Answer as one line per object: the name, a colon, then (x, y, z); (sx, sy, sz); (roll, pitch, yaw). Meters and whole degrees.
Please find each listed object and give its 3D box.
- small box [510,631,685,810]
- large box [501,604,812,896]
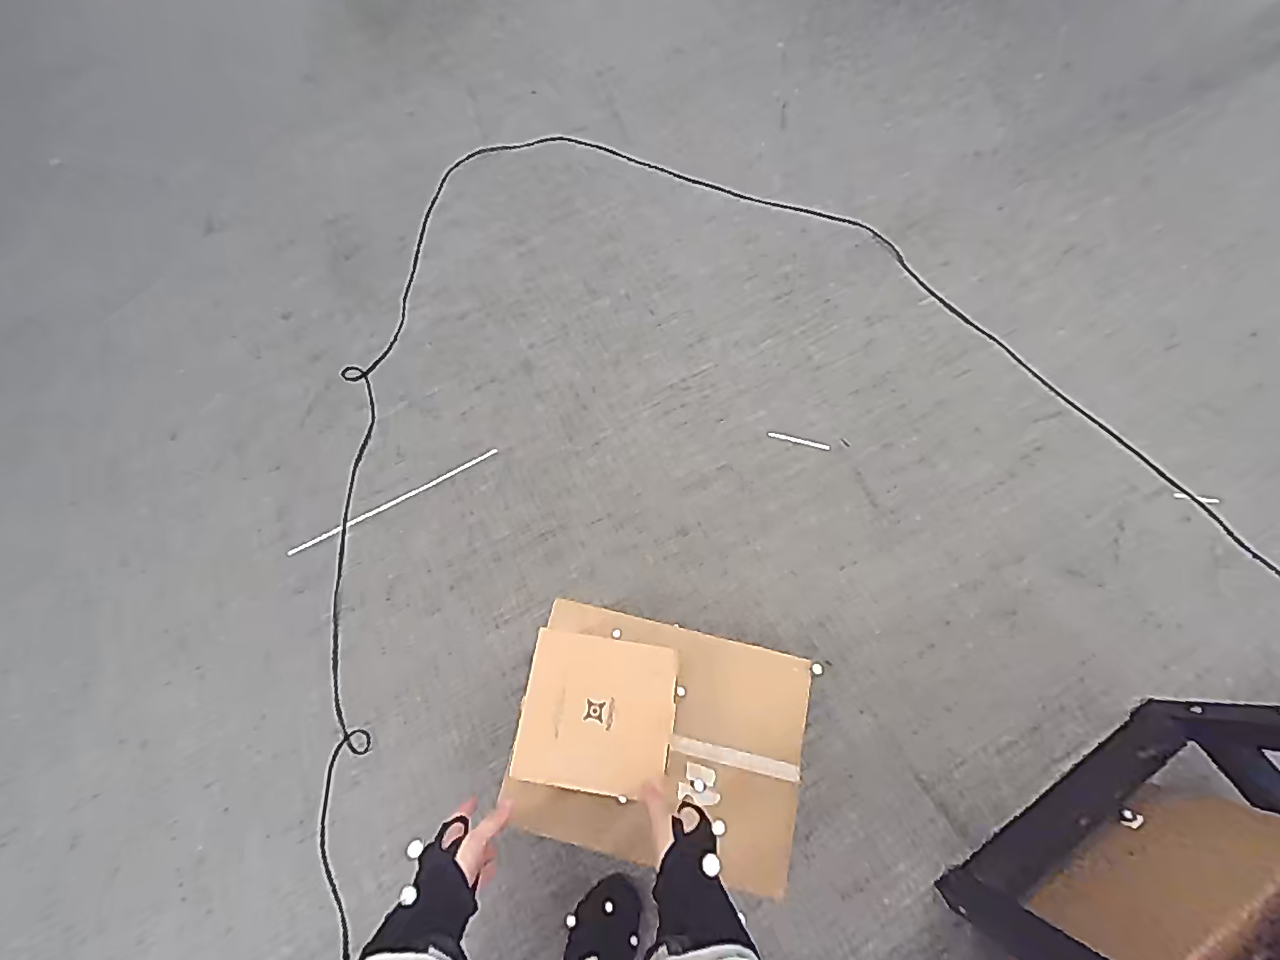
small box: (-0.046, 0.298, 0.692); (0.179, 0.176, 0.168); (9, 69, 3)
large box: (0.029, 0.419, 0.911); (0.408, 0.320, 0.320); (13, 72, 4)
